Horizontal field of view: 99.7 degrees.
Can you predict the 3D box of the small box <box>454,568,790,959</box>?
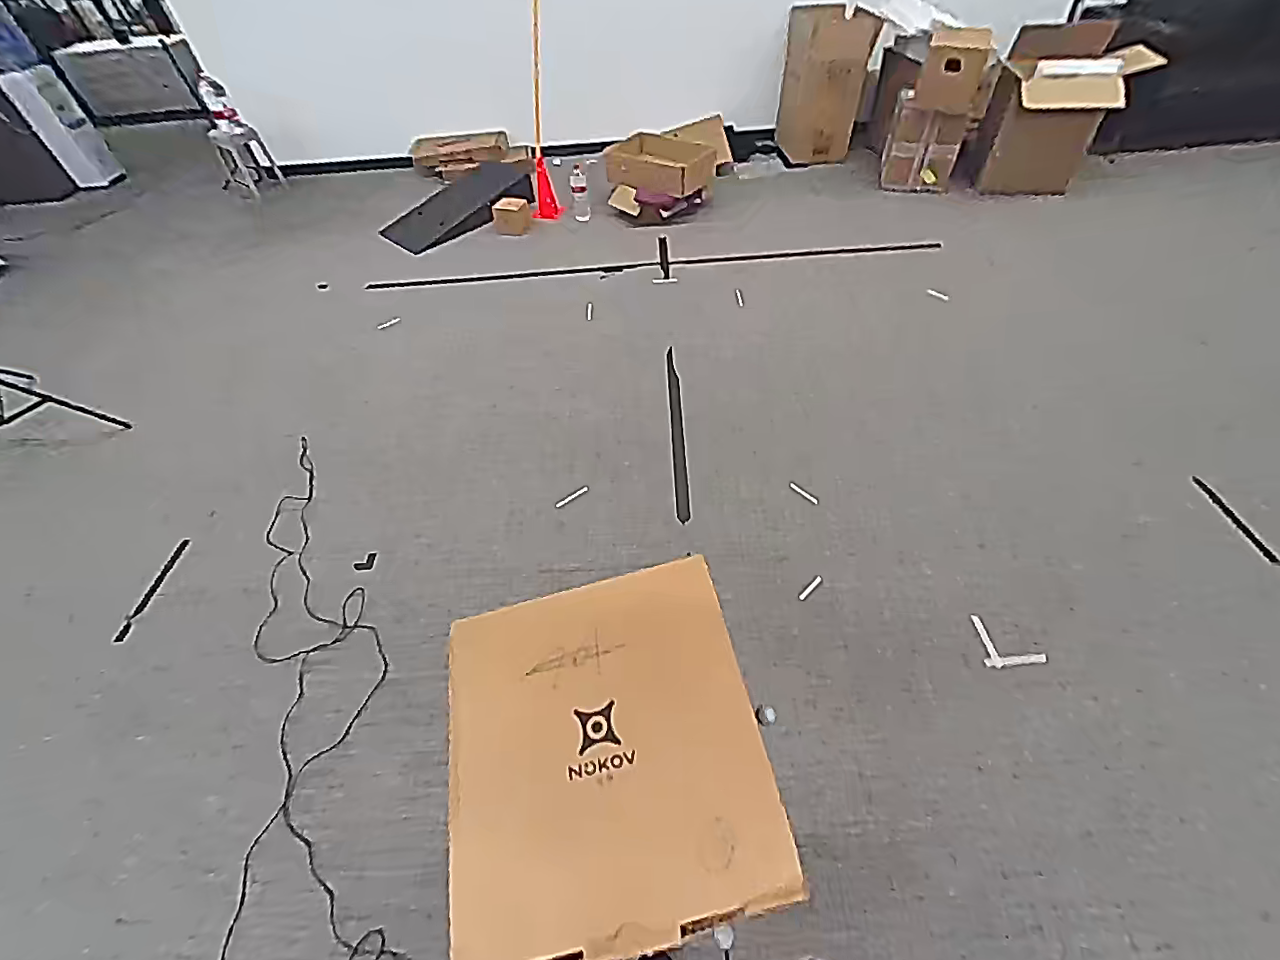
[{"bbox_3d":[-0.011,0.189,0.364,0.168,0.176,0.179,-15,53,0],"label":"small box"}]
